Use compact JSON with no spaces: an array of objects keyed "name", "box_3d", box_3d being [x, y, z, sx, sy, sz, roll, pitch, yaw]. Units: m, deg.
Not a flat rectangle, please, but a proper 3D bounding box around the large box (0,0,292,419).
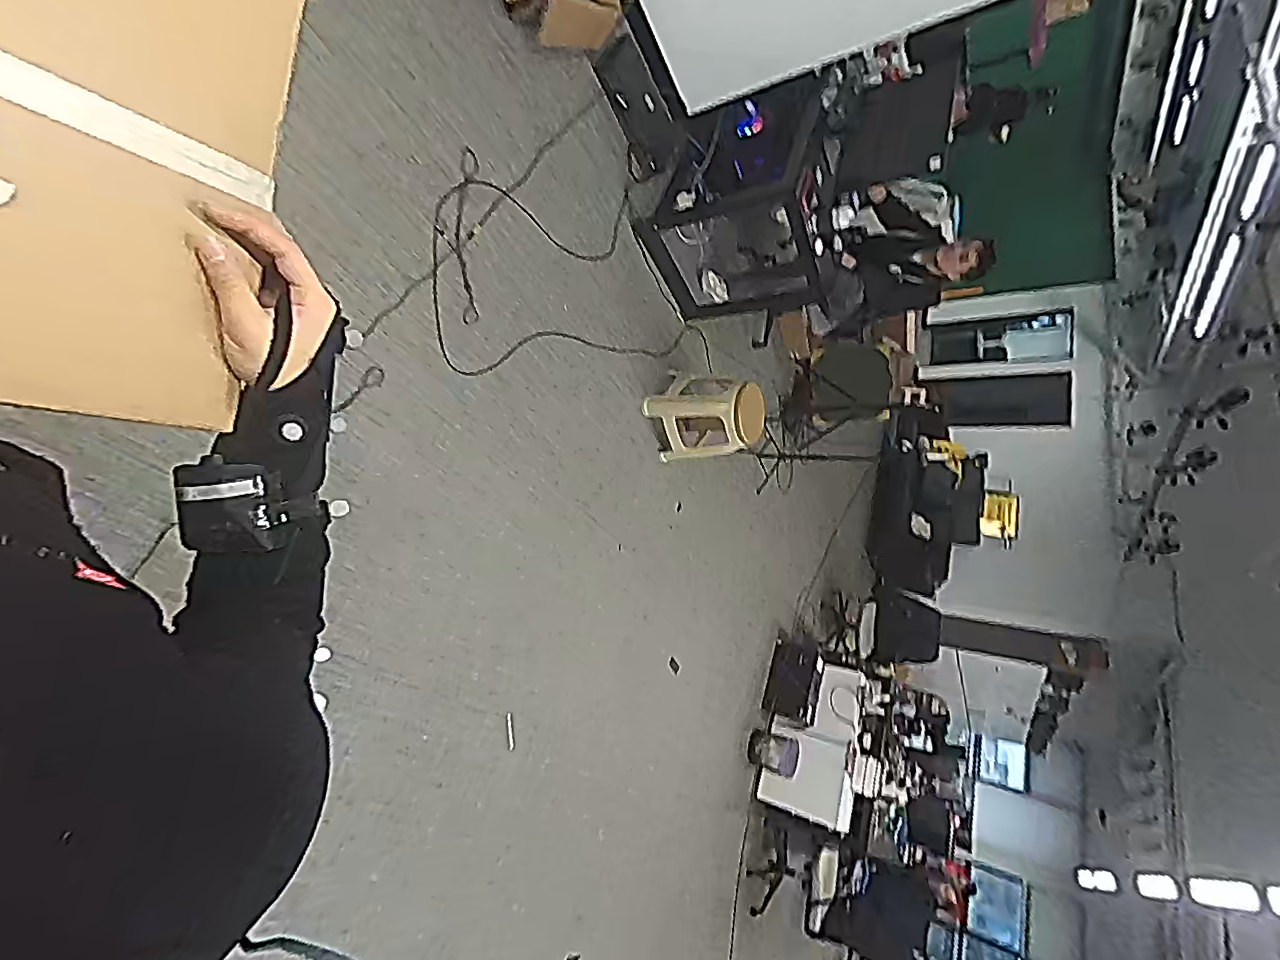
[{"name":"large box","box_3d":[-0.485,-0.224,0.288,0.408,0.320,0.320,6,95,-54]}]
